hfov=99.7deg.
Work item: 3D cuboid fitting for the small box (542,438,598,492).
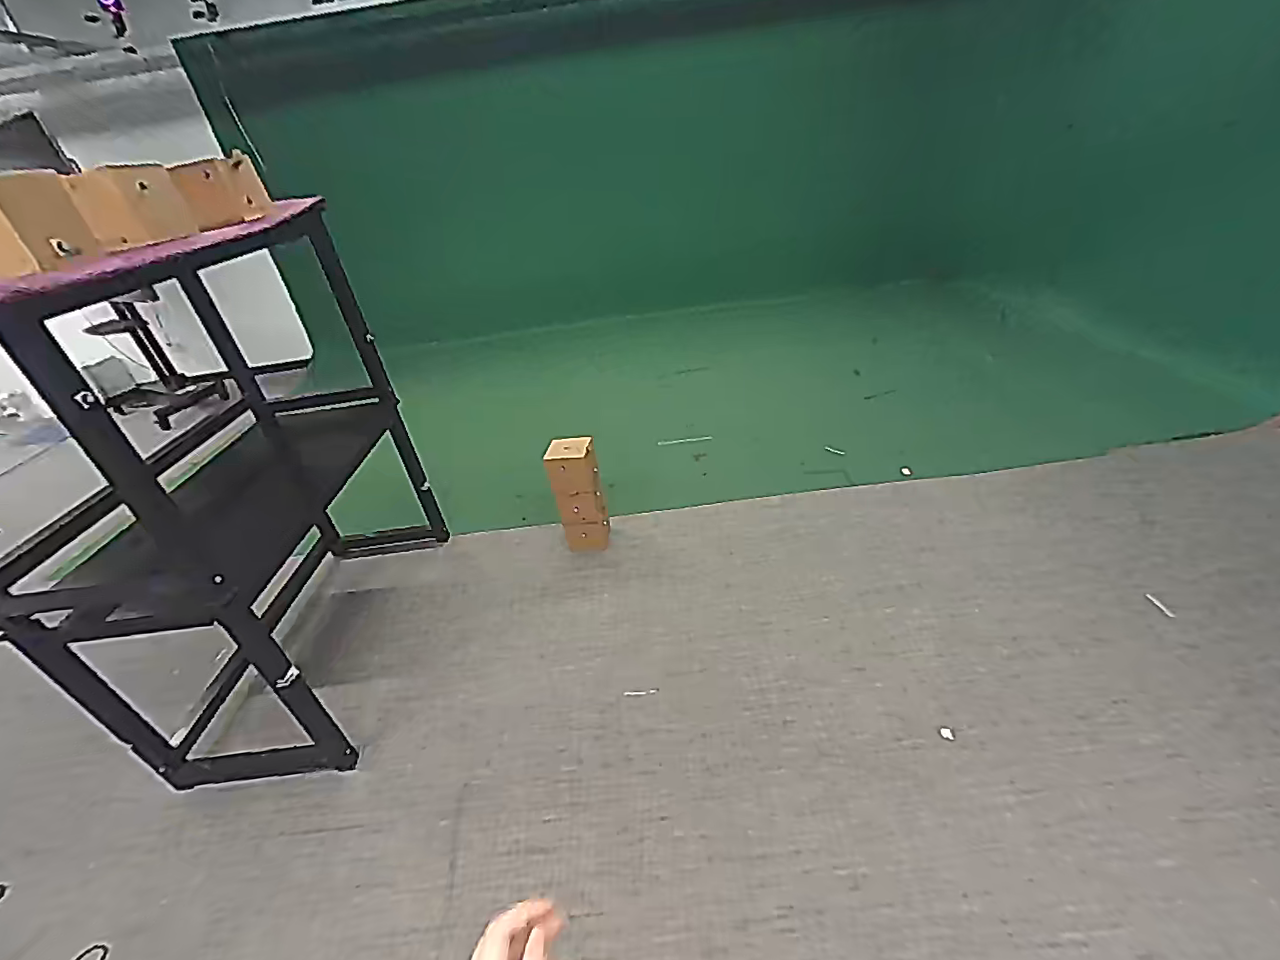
[{"bbox_3d":[-0.288,-0.060,2.256,0.179,0.176,0.168,-3,33,11],"label":"small box"}]

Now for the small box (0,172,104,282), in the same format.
[{"bbox_3d":[-1.212,-0.478,1.029,0.179,0.176,0.168,-8,33,-1],"label":"small box"}]

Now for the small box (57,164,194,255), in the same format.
[{"bbox_3d":[-1.261,-0.661,1.325,0.168,0.176,0.179,-8,32,4],"label":"small box"}]

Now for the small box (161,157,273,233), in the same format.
[{"bbox_3d":[-1.266,-0.857,1.628,0.179,0.176,0.168,-8,34,6],"label":"small box"}]

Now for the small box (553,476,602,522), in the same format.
[{"bbox_3d":[-0.265,0.071,2.356,0.168,0.176,0.179,-4,33,9],"label":"small box"}]
